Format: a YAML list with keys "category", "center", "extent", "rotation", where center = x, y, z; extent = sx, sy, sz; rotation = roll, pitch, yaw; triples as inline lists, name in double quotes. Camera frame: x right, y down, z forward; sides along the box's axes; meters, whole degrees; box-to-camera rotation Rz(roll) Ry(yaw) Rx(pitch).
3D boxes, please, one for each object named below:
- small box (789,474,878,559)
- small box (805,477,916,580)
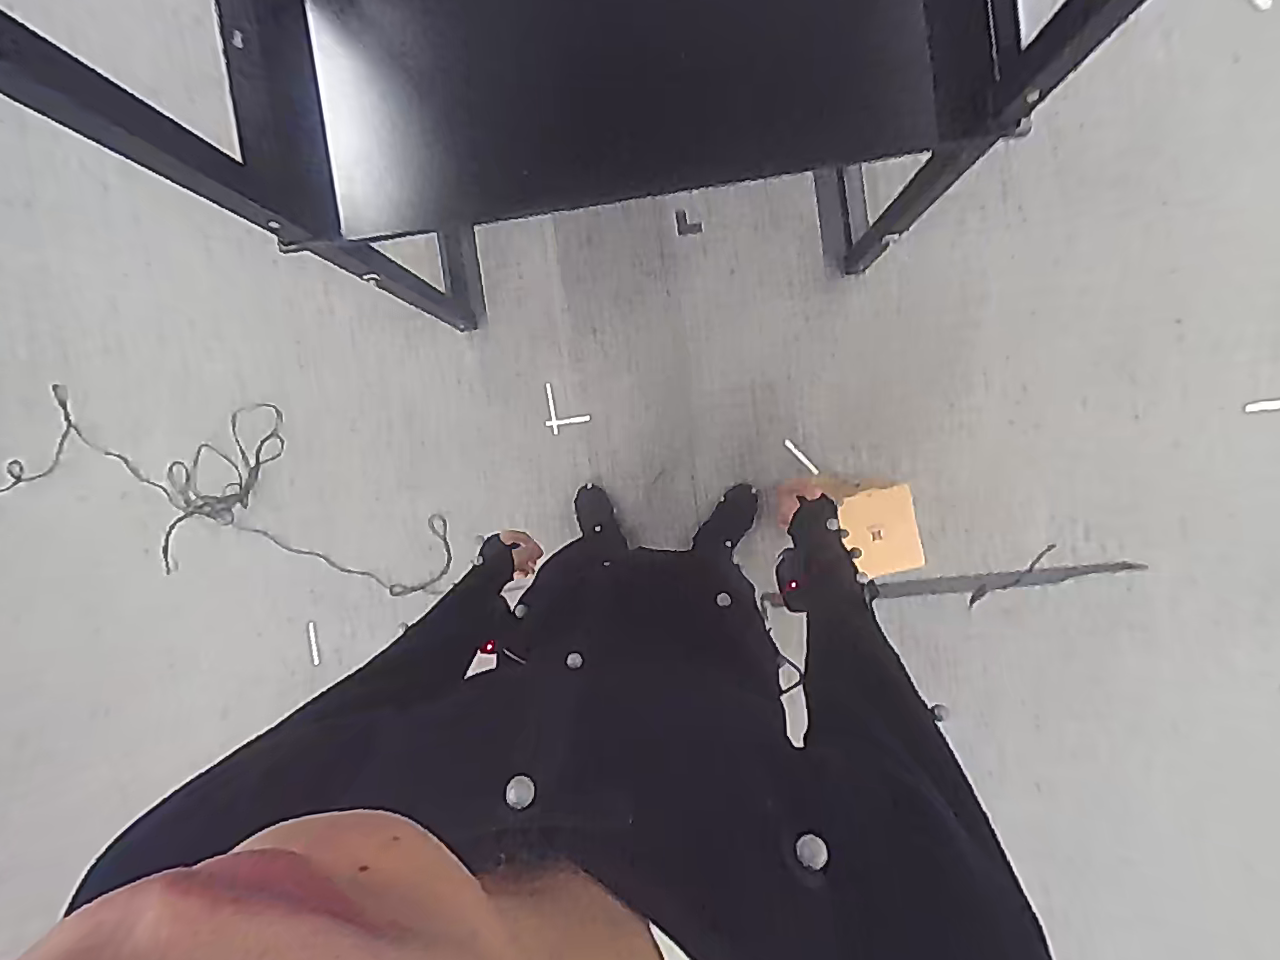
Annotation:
- category: "small box"
  center: [0.488, 0.083, 1.343]
  extent: [0.179, 0.176, 0.168]
  rotation: [-12, 93, 5]
- category: "small box"
  center: [0.473, 0.099, 1.182]
  extent: [0.168, 0.176, 0.179]
  rotation: [-13, 93, 5]
